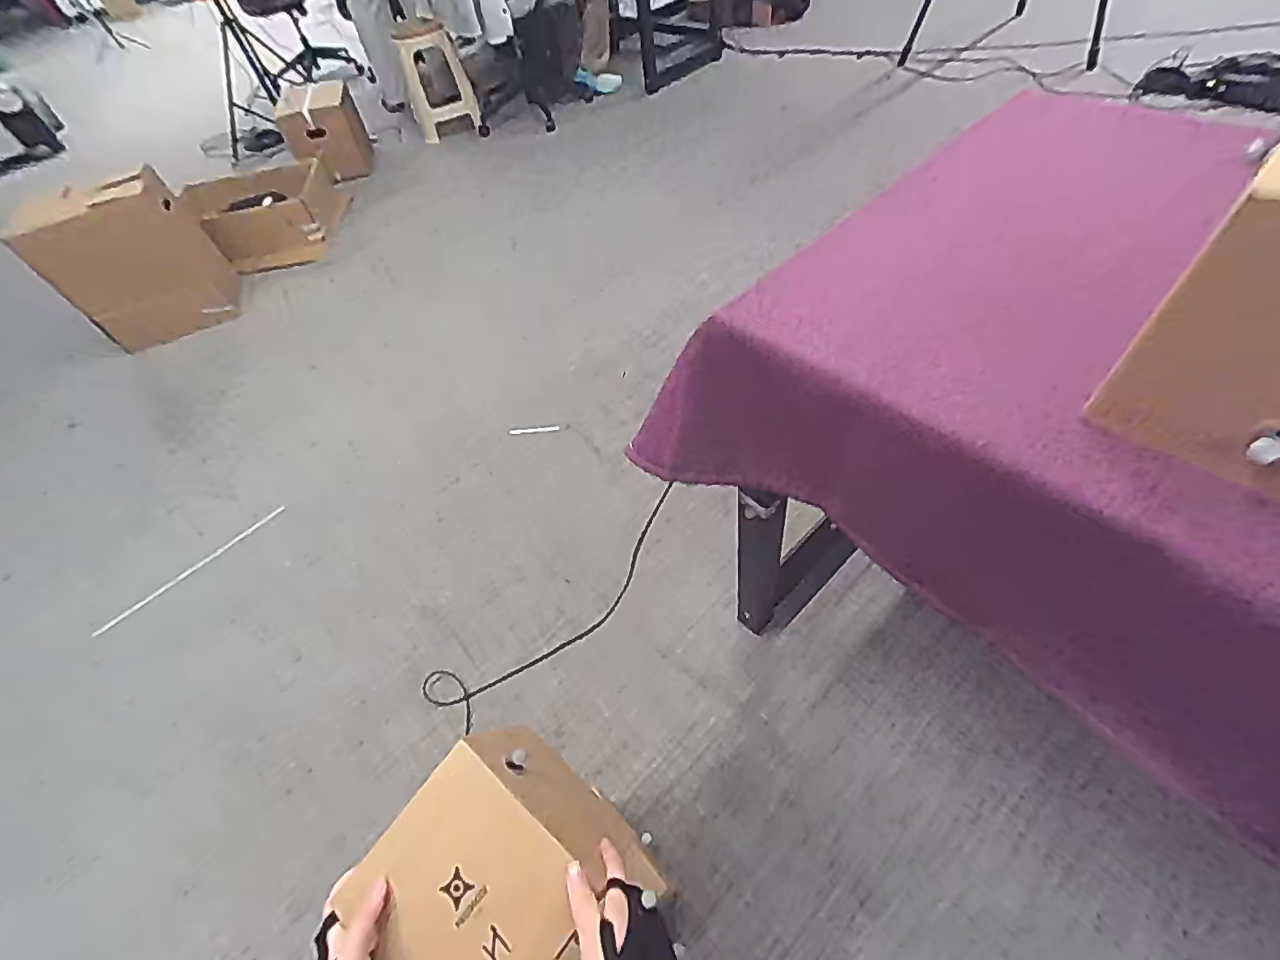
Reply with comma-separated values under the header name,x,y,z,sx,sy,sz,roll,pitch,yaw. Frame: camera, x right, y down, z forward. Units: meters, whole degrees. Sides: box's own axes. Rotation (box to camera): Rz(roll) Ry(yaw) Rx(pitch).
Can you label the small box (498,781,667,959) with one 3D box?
name,x,y,z,sx,sy,sz,roll,pitch,yaw
small box,-0.074,0.593,0.805,0.179,0.176,0.168,-38,57,-20
